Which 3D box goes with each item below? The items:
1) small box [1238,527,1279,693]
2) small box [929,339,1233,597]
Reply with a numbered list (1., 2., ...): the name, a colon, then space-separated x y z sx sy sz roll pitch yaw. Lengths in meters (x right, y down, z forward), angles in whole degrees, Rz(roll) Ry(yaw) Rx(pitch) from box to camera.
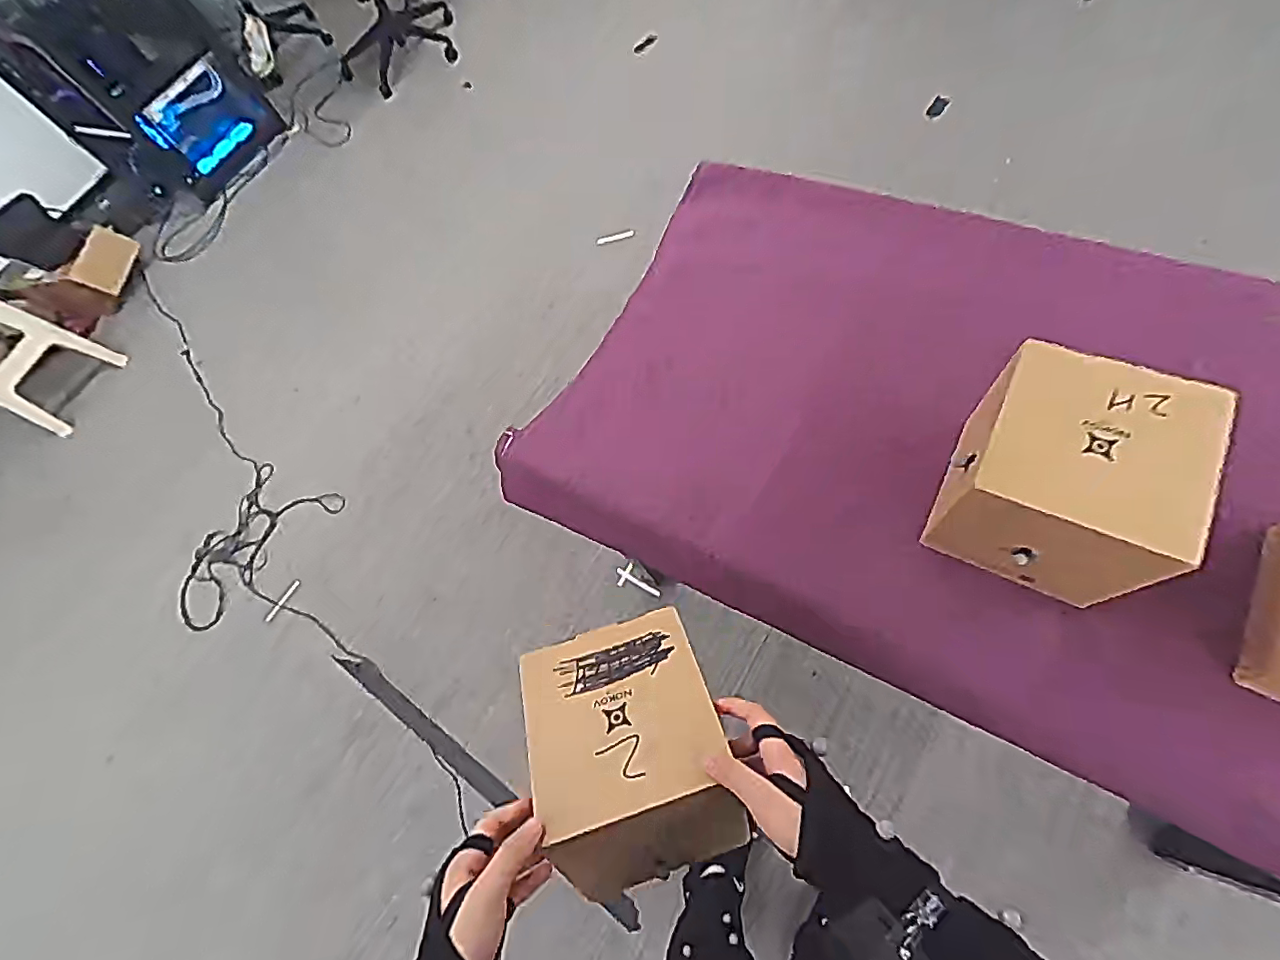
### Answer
1. small box: 0.660 0.120 0.440 0.168 0.176 0.179 25 74 21
2. small box: 0.418 -0.003 0.545 0.168 0.176 0.179 24 72 20
